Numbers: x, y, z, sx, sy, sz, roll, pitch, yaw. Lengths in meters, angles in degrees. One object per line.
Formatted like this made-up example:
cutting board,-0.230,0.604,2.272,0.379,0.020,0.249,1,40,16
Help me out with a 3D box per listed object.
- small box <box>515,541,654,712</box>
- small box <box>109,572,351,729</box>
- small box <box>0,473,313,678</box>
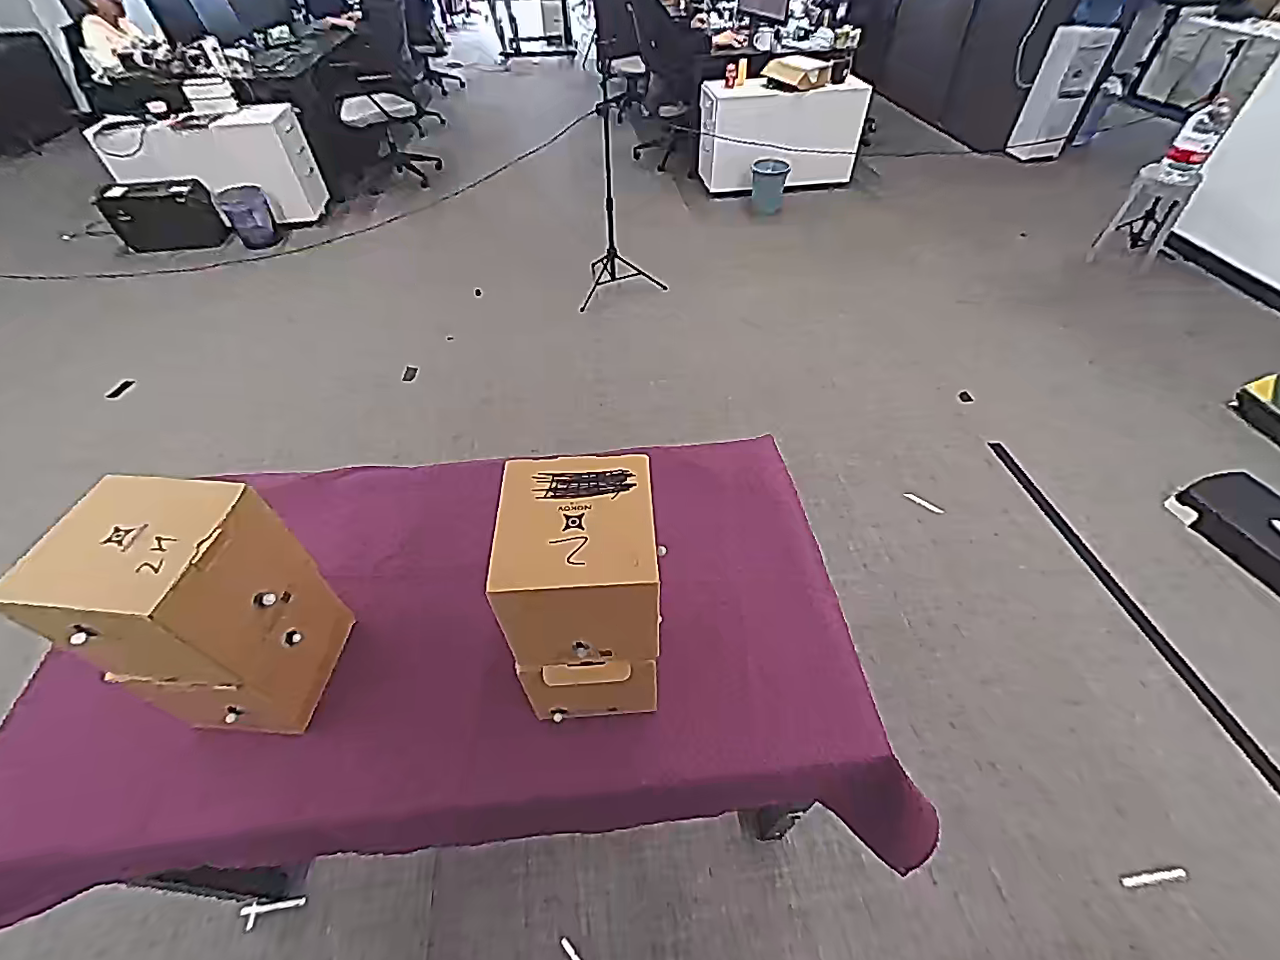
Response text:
small box,-0.067,0.206,0.745,0.168,0.176,0.179,-3,47,-2
small box,-0.532,0.223,0.739,0.168,0.176,0.179,4,48,3
small box,-0.527,0.112,0.619,0.179,0.176,0.168,5,49,4
